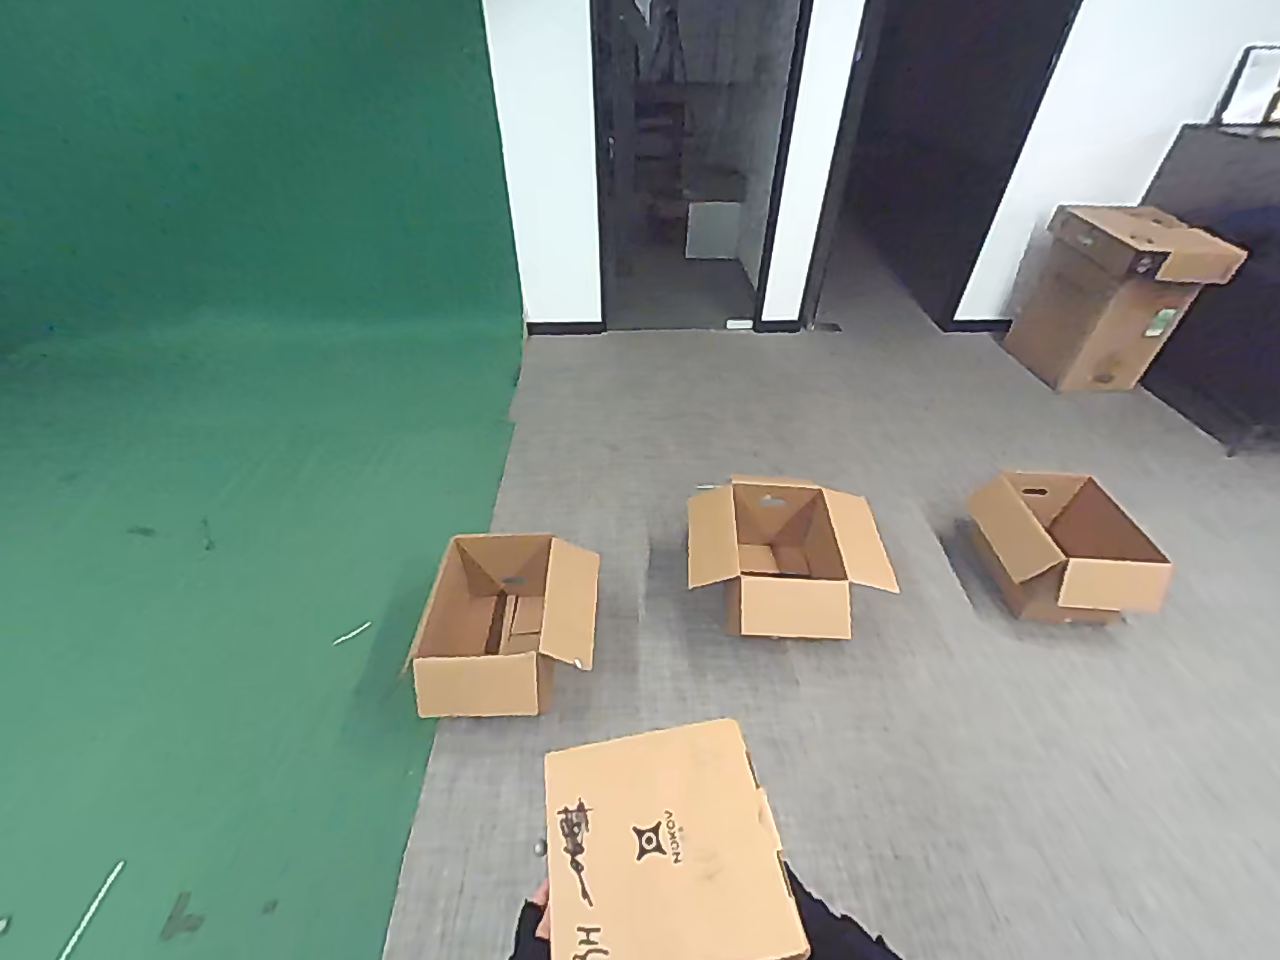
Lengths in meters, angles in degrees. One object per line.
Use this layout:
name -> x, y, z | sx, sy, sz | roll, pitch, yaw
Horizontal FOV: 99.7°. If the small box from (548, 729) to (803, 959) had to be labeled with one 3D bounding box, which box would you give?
small box -> 0.017, 0.346, 0.470 | 0.179, 0.176, 0.168 | -6, 39, -6
